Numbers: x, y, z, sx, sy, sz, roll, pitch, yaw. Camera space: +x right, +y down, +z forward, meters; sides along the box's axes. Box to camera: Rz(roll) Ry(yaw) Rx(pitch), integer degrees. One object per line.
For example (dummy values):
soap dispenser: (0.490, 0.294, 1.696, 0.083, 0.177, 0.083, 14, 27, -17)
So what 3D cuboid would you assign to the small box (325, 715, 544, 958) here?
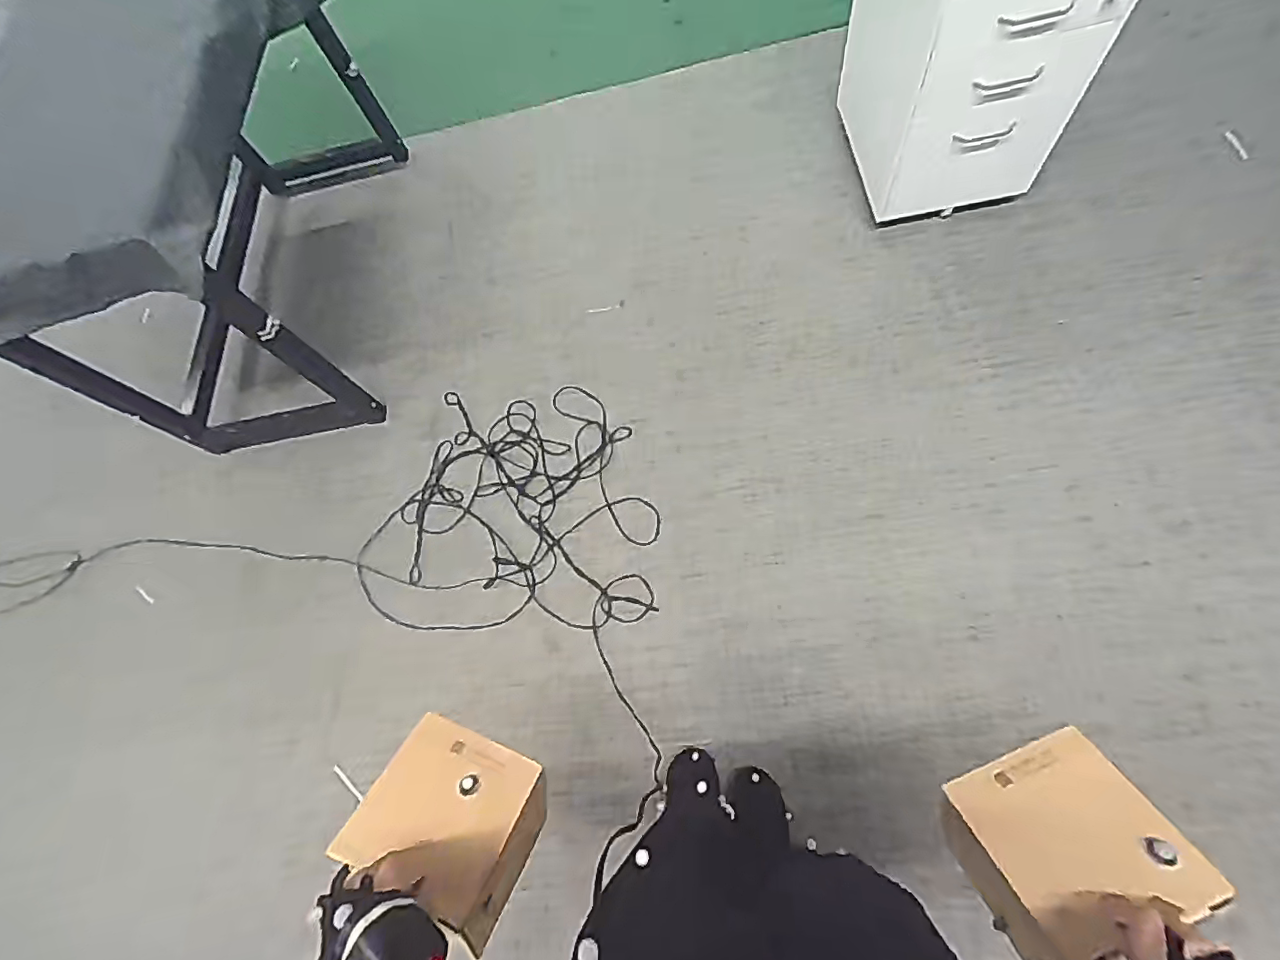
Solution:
small box: (-0.225, 0.419, 0.647, 0.168, 0.179, 0.176, 17, 42, 12)
